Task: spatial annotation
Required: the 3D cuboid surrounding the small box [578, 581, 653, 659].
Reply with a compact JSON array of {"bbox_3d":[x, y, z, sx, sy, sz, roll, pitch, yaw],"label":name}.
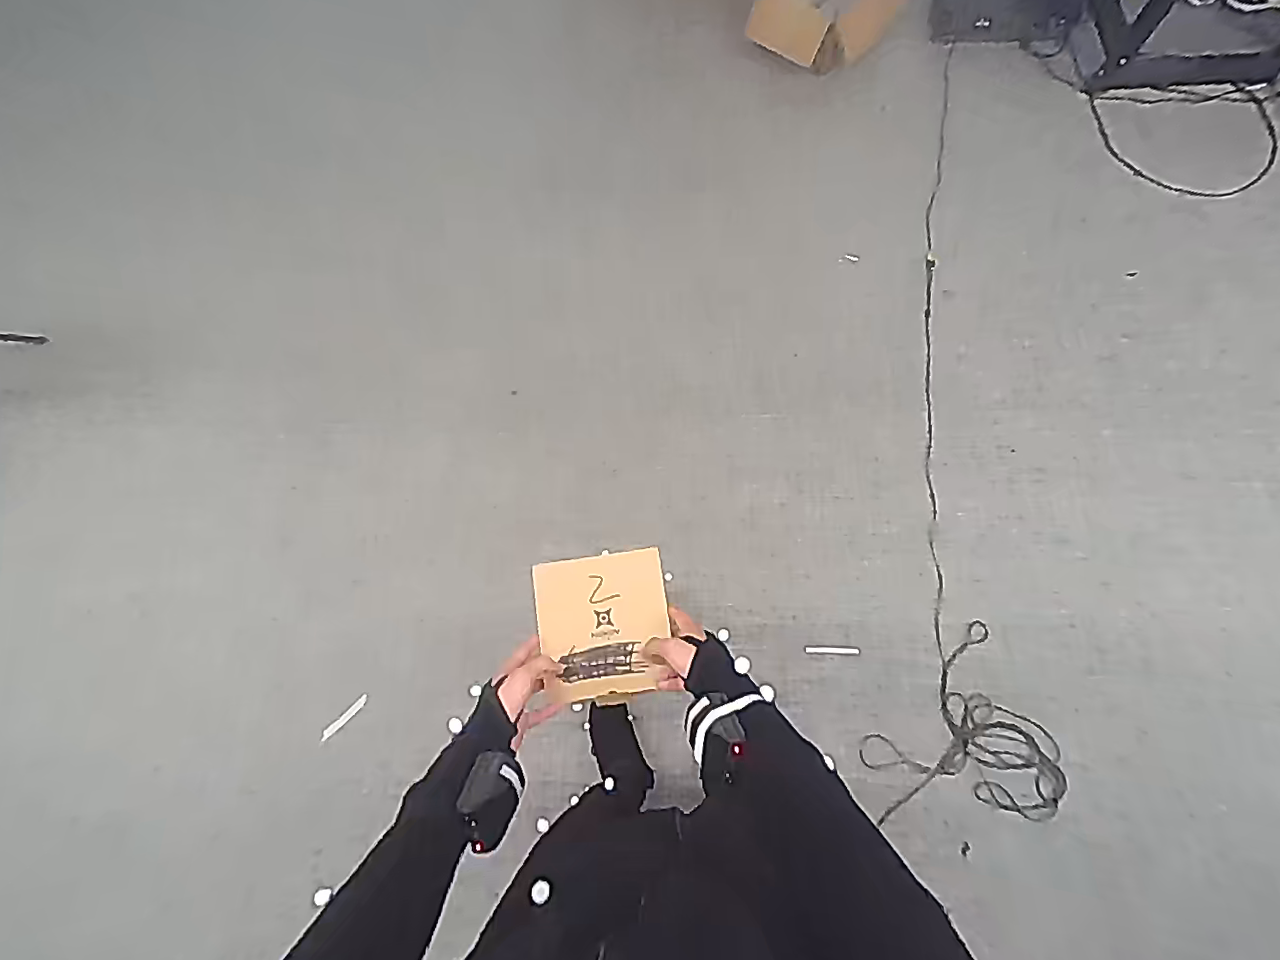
[{"bbox_3d":[-0.056,0.365,1.405,0.168,0.176,0.179,4,74,6],"label":"small box"}]
